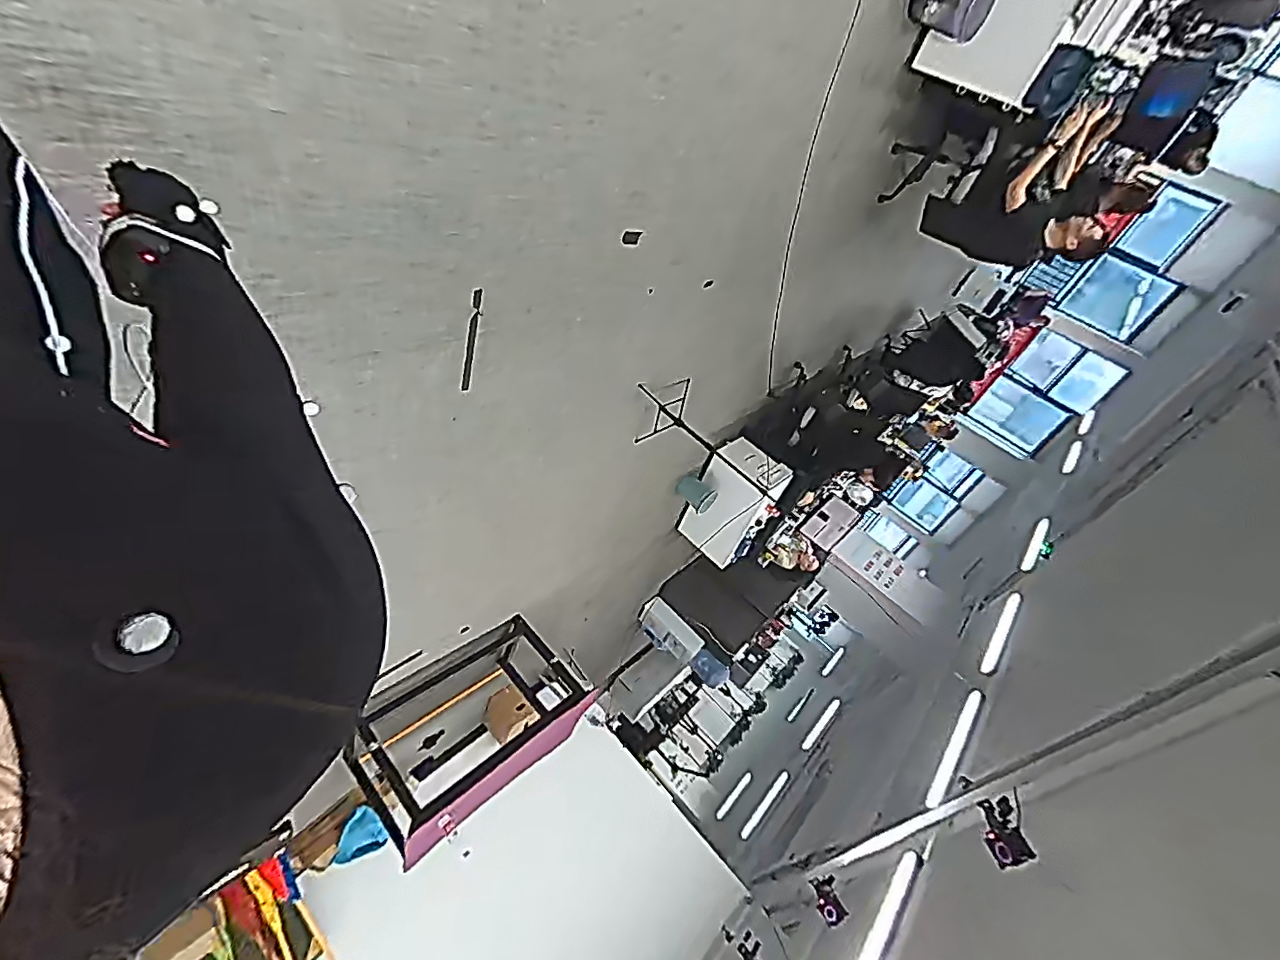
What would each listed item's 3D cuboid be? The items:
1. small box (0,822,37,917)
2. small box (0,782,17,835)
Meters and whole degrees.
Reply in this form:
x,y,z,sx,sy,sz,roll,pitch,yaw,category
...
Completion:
x,y,z,sx,sy,sz,roll,pitch,yaw,category
-1.553,0.929,1.243,0.168,0.176,0.179,-26,151,-44,small box
-1.669,0.826,1.300,0.179,0.176,0.168,-25,149,-46,small box
